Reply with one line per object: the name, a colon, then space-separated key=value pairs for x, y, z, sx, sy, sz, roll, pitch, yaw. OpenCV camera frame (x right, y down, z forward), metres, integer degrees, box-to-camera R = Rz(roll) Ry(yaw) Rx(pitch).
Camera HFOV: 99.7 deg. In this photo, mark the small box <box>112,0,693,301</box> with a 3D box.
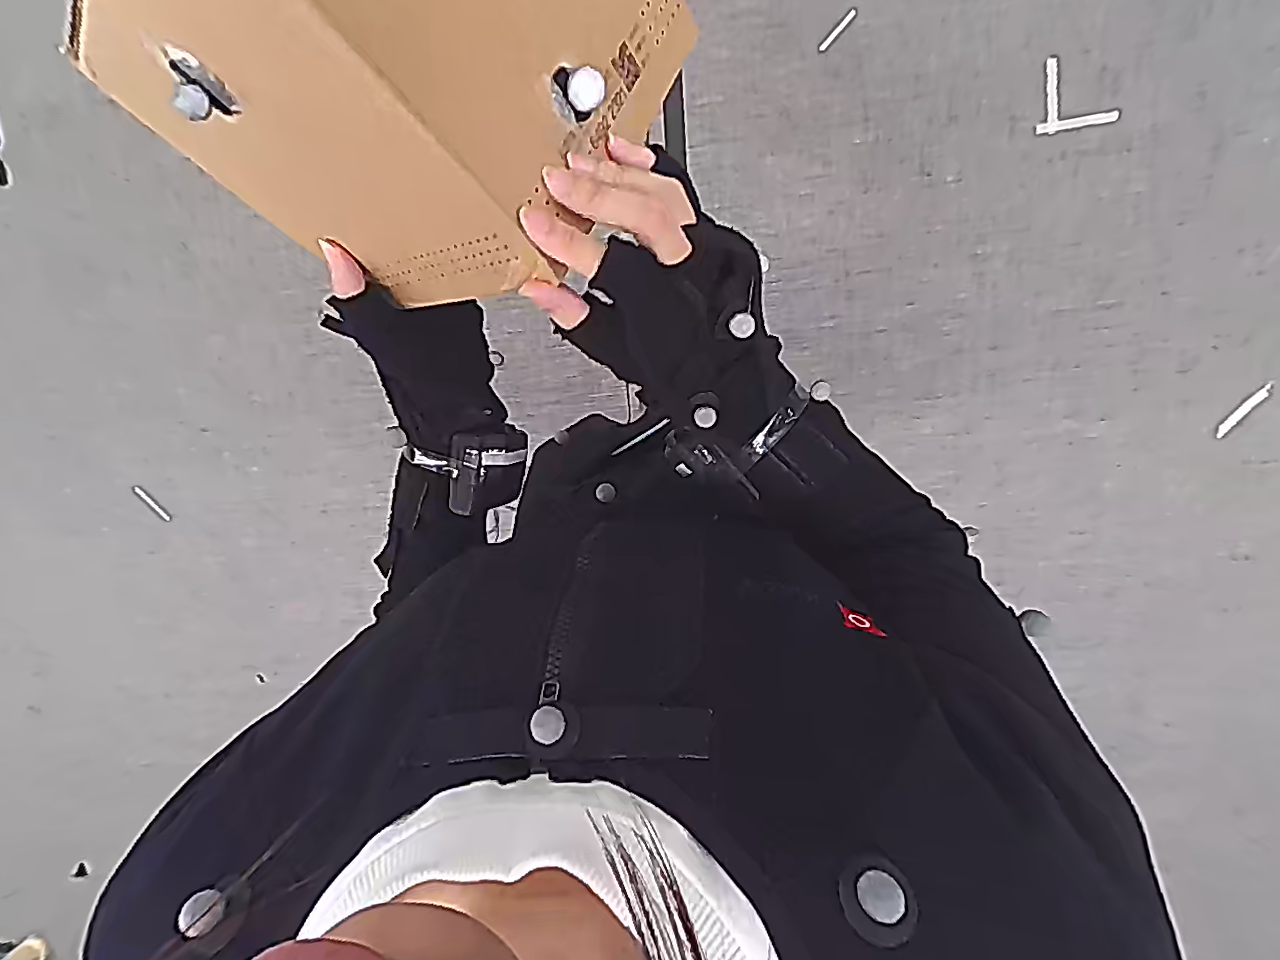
small box: x=-0.105 y=-0.210 z=0.272 sx=0.179 sy=0.176 sz=0.168 roll=10 pitch=70 yaw=41
